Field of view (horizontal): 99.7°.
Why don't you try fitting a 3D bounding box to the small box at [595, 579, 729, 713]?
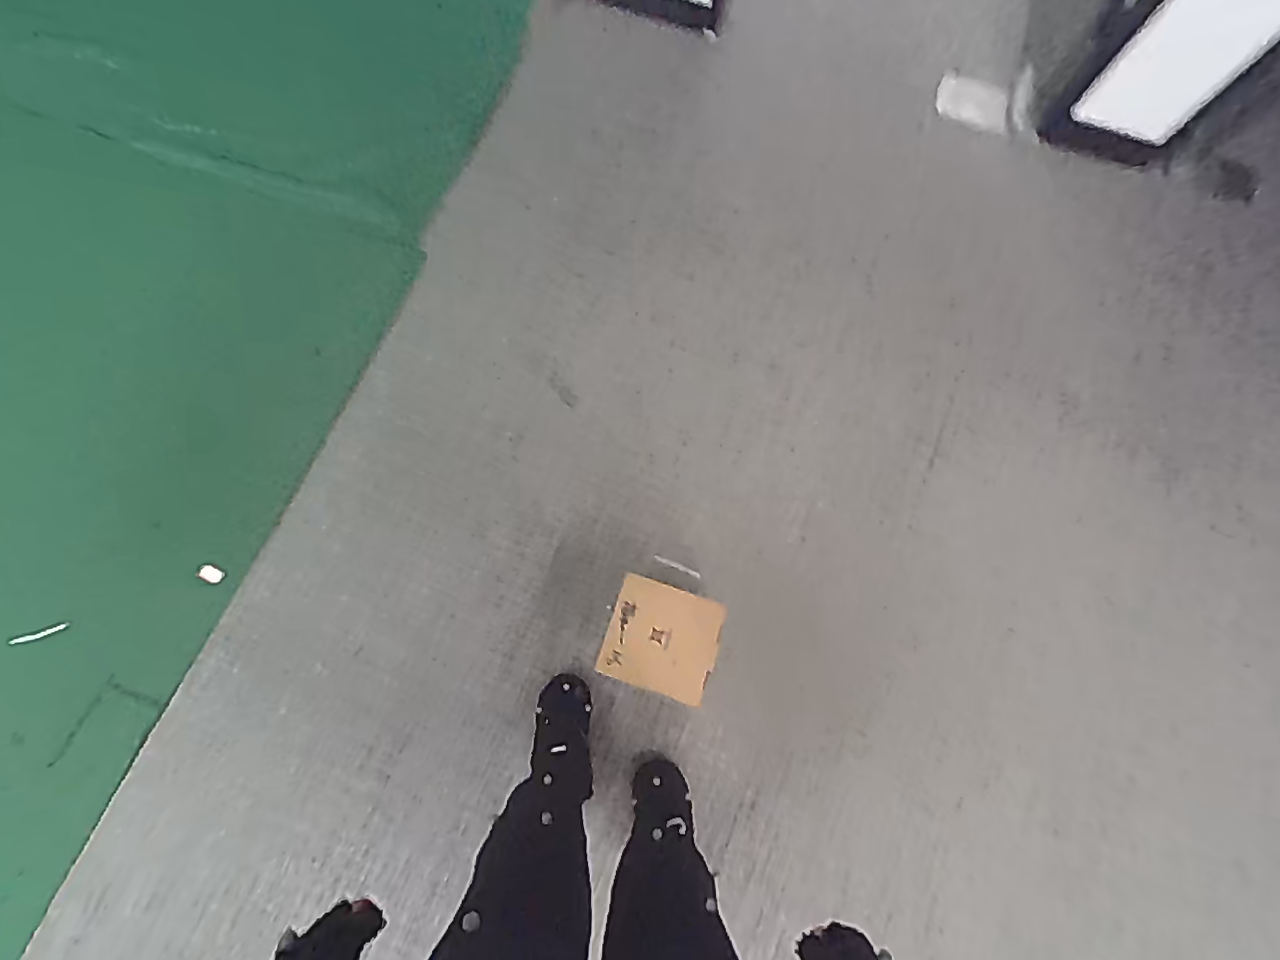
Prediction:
[{"bbox_3d":[0.036,0.280,0.943,0.179,0.176,0.168,19,77,5],"label":"small box"}]
